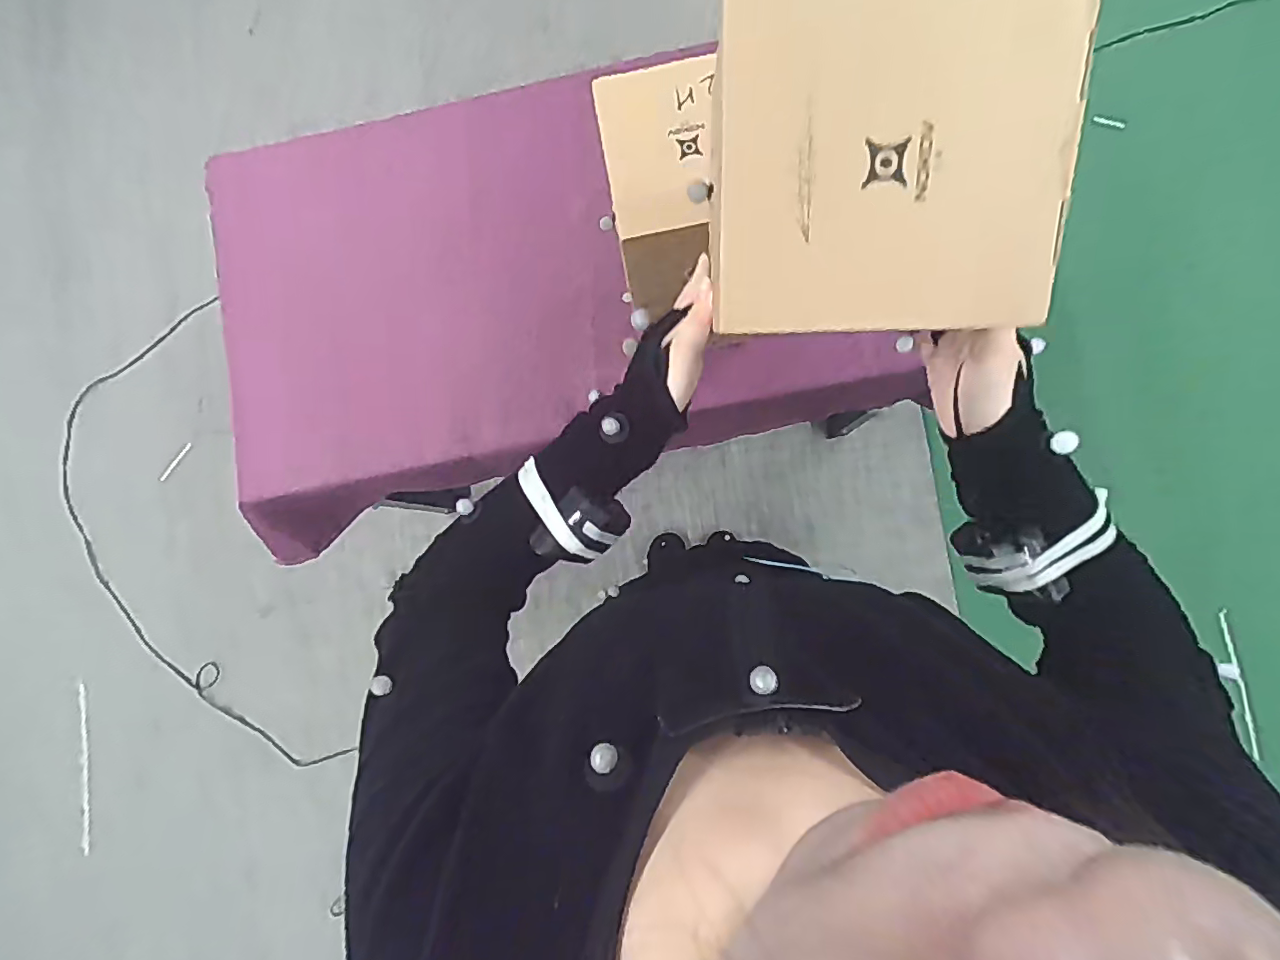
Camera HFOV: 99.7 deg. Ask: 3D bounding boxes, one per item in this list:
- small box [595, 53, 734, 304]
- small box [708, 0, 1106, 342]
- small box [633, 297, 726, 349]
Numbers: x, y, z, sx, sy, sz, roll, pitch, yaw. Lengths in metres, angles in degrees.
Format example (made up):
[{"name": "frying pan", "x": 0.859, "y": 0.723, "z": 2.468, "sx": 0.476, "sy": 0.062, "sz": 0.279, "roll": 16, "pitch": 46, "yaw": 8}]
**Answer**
[{"name": "small box", "x": 0.050, "y": -0.311, "z": 0.595, "sx": 0.168, "sy": 0.176, "sz": 0.179, "roll": -8, "pitch": 81, "yaw": 2}, {"name": "small box", "x": 0.139, "y": -0.179, "z": 0.357, "sx": 0.179, "sy": 0.176, "sz": 0.168, "roll": 1, "pitch": 105, "yaw": 5}, {"name": "small box", "x": 0.069, "y": -0.296, "z": 0.760, "sx": 0.168, "sy": 0.176, "sz": 0.179, "roll": -10, "pitch": 84, "yaw": 2}]
